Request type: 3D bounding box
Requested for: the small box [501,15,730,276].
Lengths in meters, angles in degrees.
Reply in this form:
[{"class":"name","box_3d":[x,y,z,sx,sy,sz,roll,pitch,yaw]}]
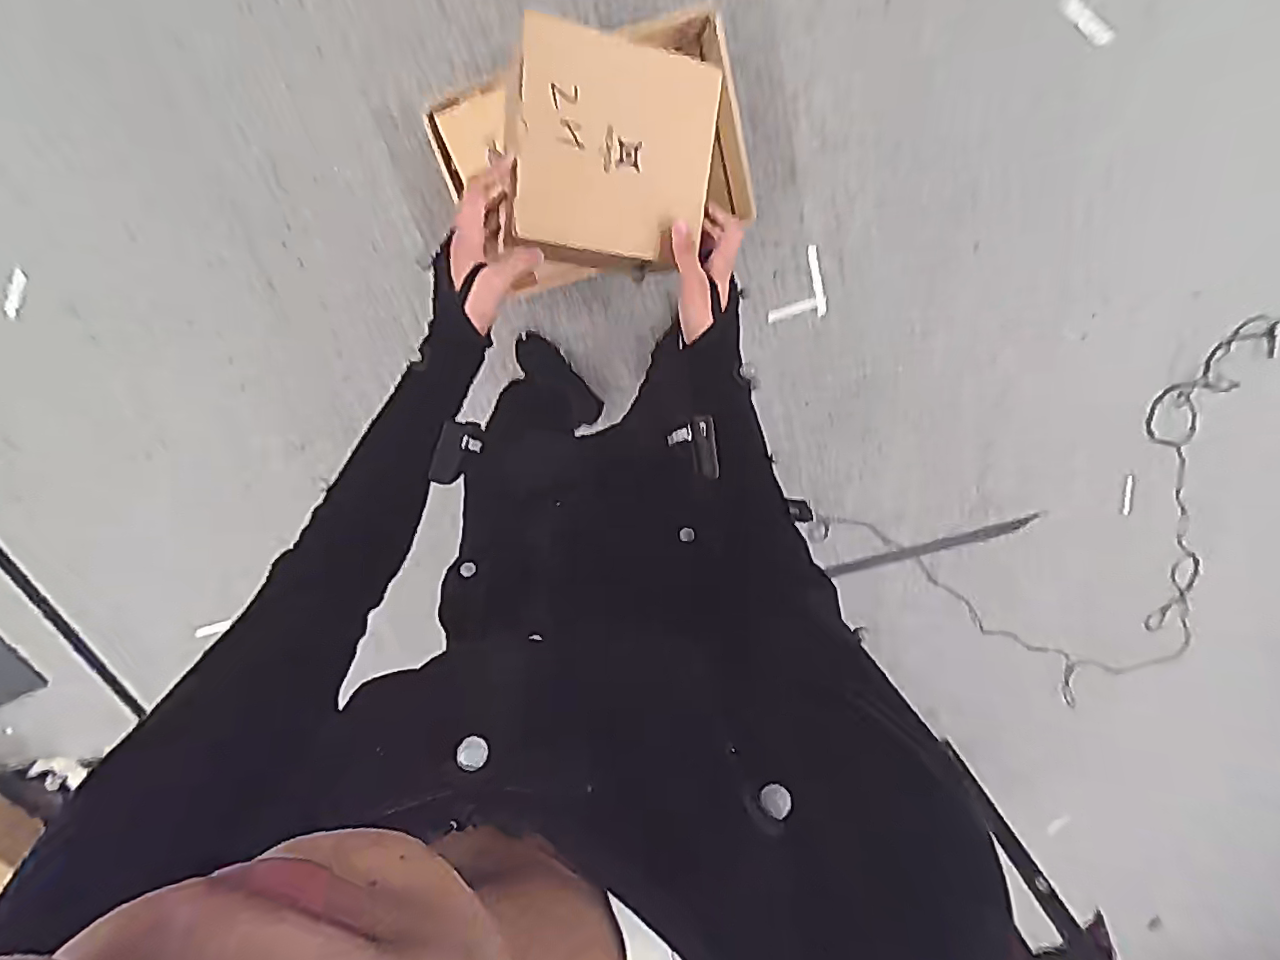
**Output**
[{"class":"small box","box_3d":[-0.038,-0.300,0.534,0.179,0.176,0.168,2,106,-19]}]
